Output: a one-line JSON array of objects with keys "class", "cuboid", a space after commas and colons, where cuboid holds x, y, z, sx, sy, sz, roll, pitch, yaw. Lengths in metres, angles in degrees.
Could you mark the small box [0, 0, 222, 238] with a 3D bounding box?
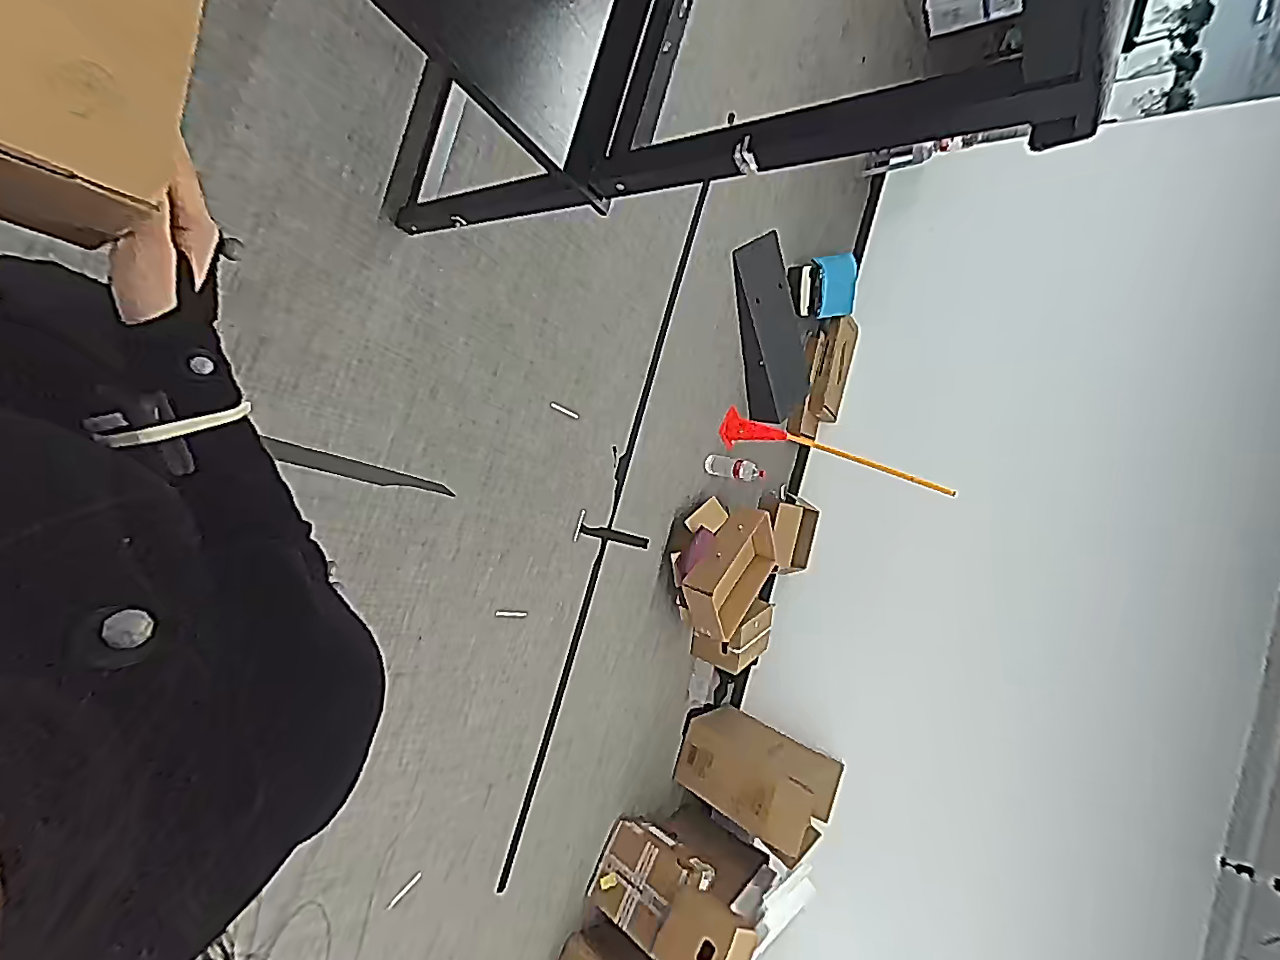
[{"class": "small box", "cuboid": [-0.320, -0.232, 0.246, 0.168, 0.176, 0.179, 11, 91, -54]}]
